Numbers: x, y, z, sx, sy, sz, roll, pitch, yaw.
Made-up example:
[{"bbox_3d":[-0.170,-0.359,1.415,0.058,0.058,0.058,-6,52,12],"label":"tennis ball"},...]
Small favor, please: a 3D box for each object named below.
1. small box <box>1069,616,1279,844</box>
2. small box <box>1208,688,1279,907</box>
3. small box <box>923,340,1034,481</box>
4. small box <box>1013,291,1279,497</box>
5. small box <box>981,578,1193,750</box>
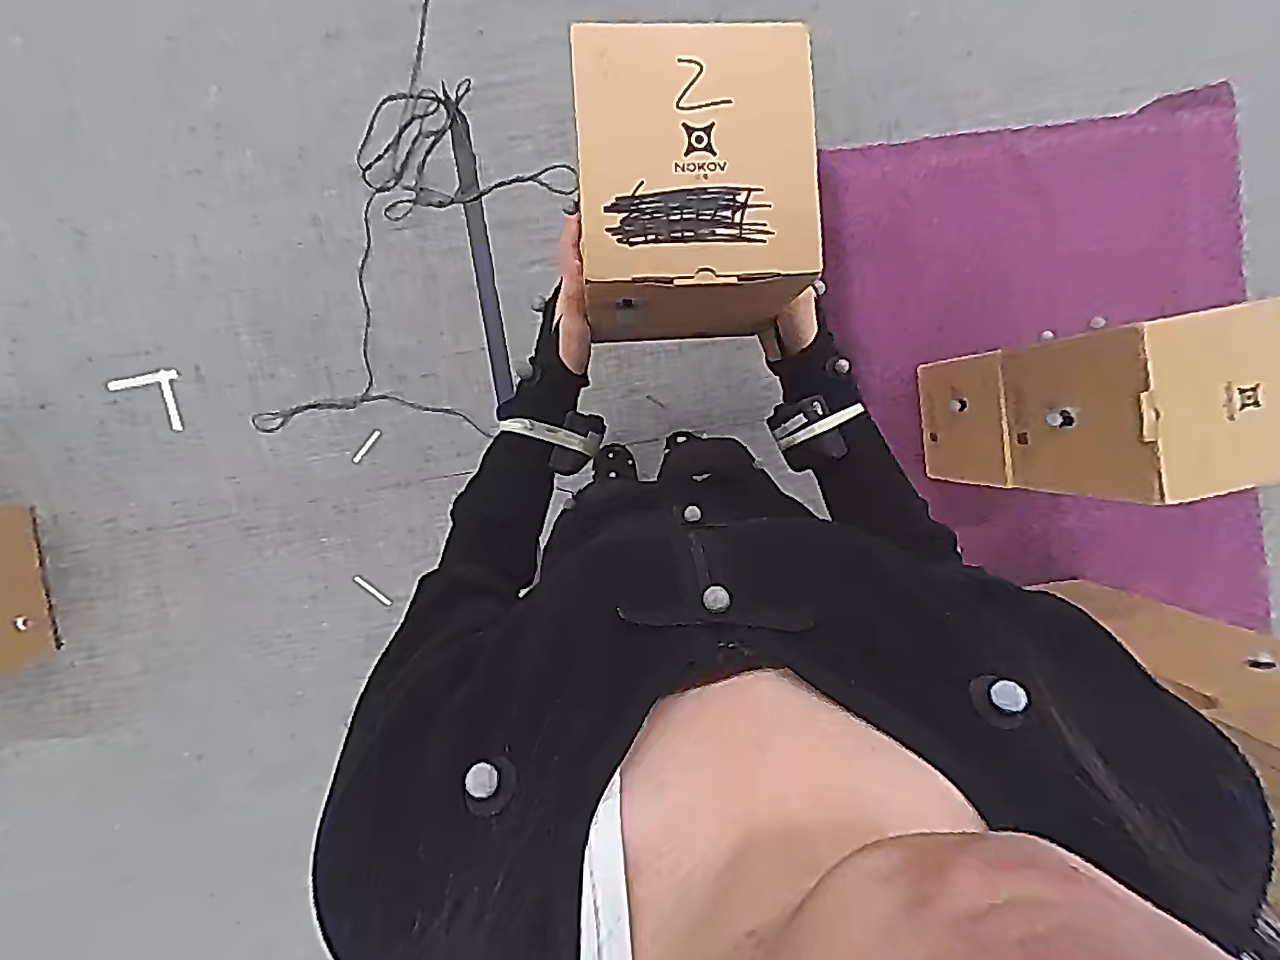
[{"bbox_3d":[0.624,0.260,0.595,0.179,0.176,0.168,-7,95,-3],"label":"small box"},{"bbox_3d":[0.615,0.279,0.432,0.179,0.176,0.168,-10,96,-4],"label":"small box"},{"bbox_3d":[0.505,-0.094,0.724,0.179,0.176,0.168,-9,95,-5],"label":"small box"},{"bbox_3d":[0.525,-0.084,0.561,0.179,0.176,0.168,-11,96,-4],"label":"small box"},{"bbox_3d":[0.608,0.245,0.757,0.179,0.176,0.168,-7,96,-4],"label":"small box"}]
